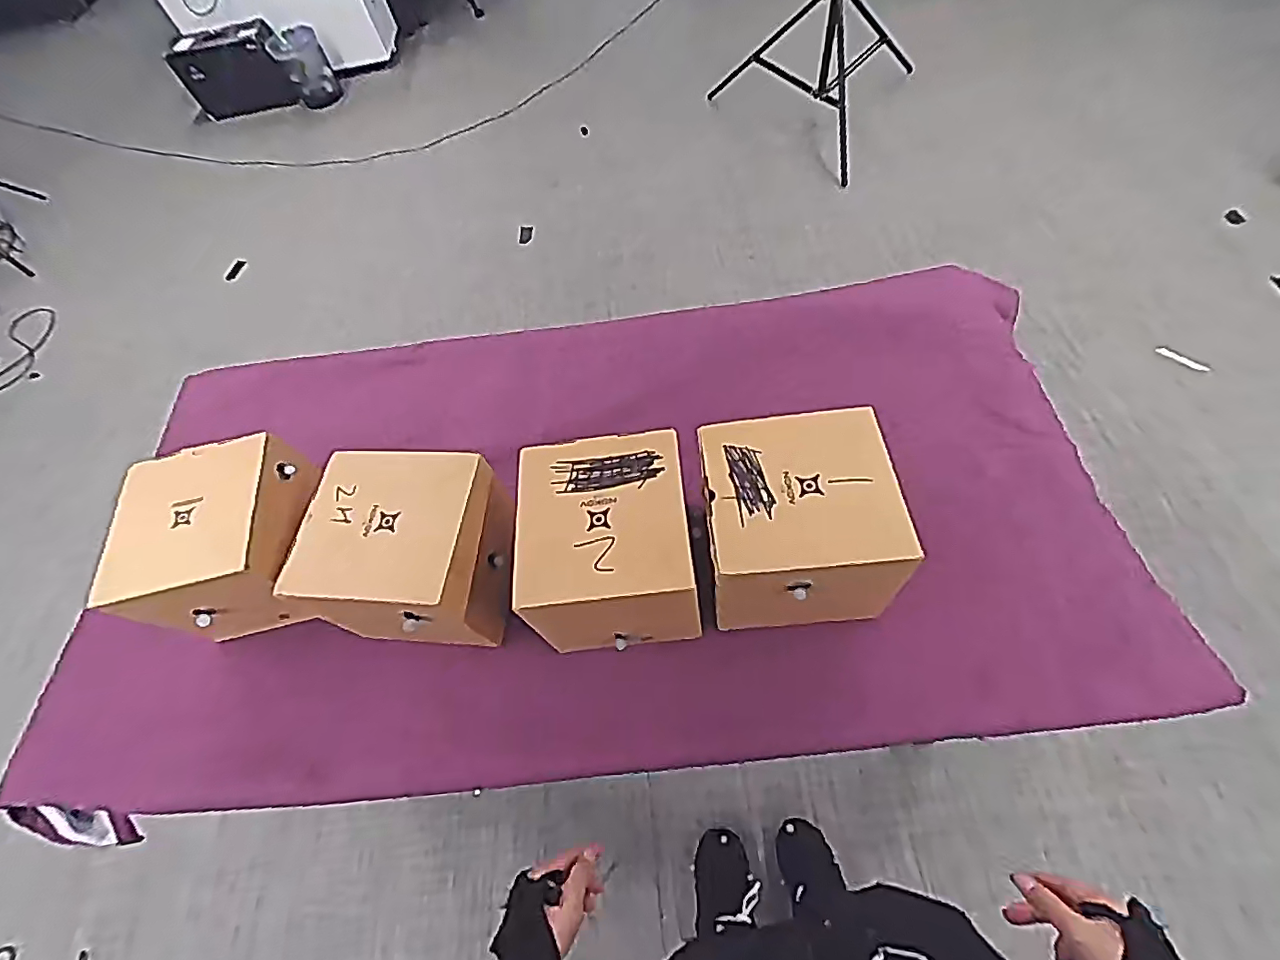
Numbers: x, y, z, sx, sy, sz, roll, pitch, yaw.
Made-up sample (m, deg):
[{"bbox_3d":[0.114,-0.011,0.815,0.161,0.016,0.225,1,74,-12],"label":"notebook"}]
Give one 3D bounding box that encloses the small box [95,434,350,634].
[{"bbox_3d":[-0.479,0.076,0.655,0.168,0.176,0.179,-15,60,0],"label":"small box"}]
